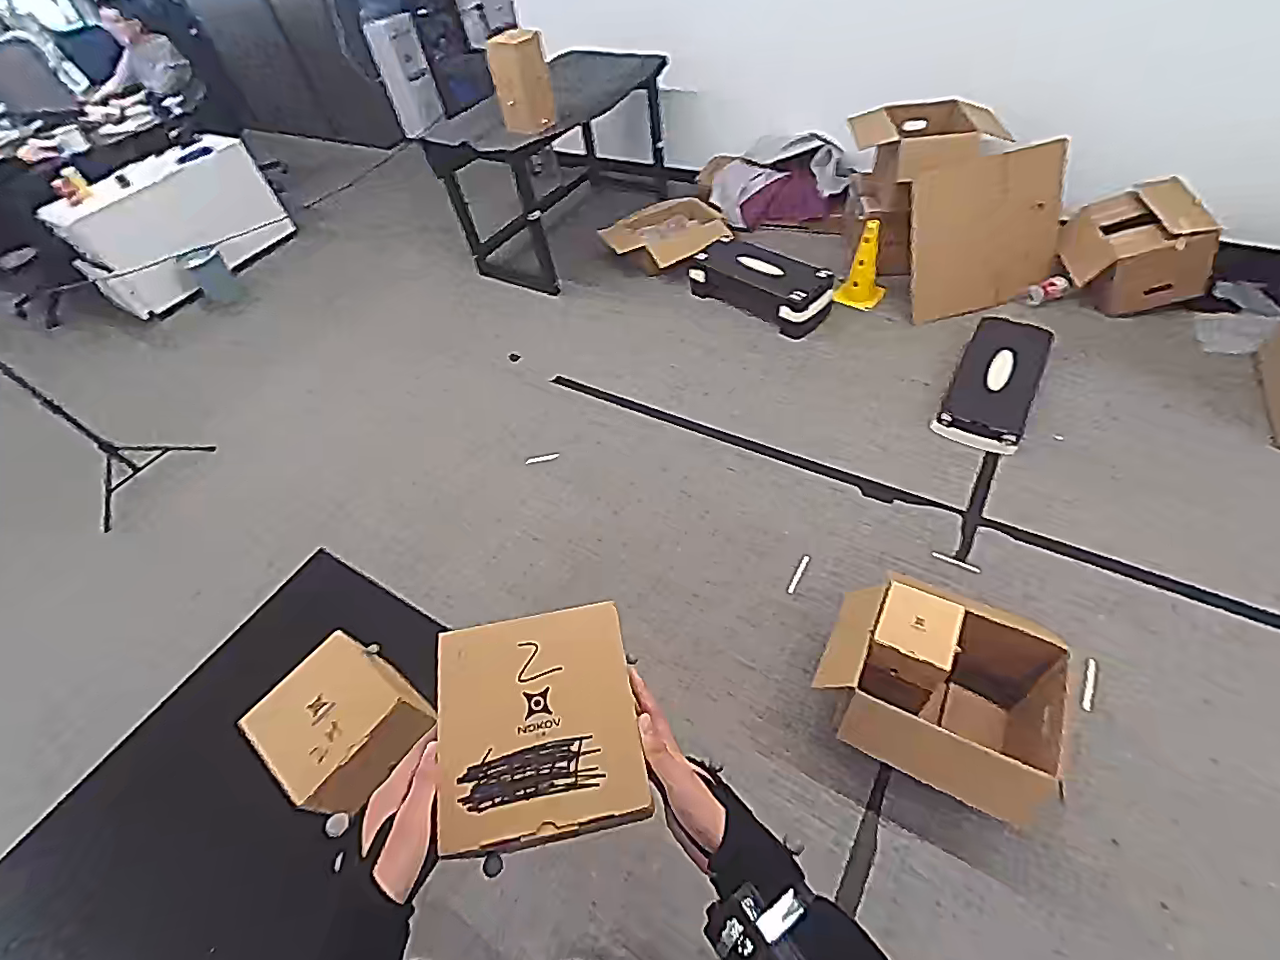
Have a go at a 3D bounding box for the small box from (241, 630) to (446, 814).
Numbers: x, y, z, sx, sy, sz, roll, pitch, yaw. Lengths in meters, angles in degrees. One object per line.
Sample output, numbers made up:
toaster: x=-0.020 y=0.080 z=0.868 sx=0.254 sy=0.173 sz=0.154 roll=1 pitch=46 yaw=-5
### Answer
small box: x=-0.429 y=0.365 z=0.806 sx=0.179 sy=0.176 sz=0.168 roll=29 pitch=63 yaw=27
